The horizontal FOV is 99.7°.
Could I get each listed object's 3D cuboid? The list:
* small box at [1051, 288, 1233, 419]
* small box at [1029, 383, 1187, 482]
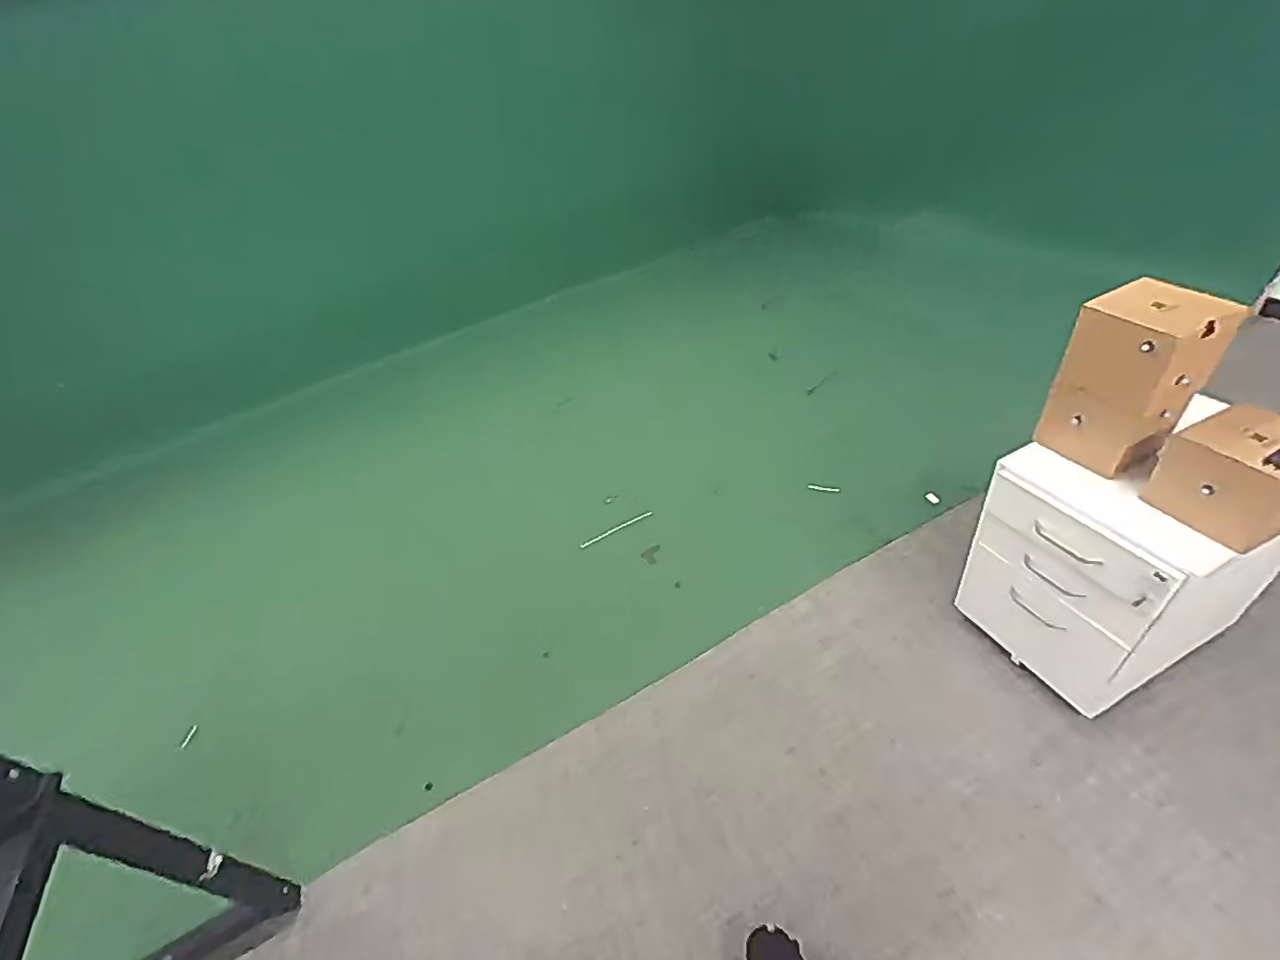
[{"bbox_3d":[0.963,-0.248,1.059,0.168,0.176,0.179,-23,43,-11],"label":"small box"},{"bbox_3d":[0.991,-0.126,1.165,0.168,0.176,0.179,-25,42,-12],"label":"small box"}]
